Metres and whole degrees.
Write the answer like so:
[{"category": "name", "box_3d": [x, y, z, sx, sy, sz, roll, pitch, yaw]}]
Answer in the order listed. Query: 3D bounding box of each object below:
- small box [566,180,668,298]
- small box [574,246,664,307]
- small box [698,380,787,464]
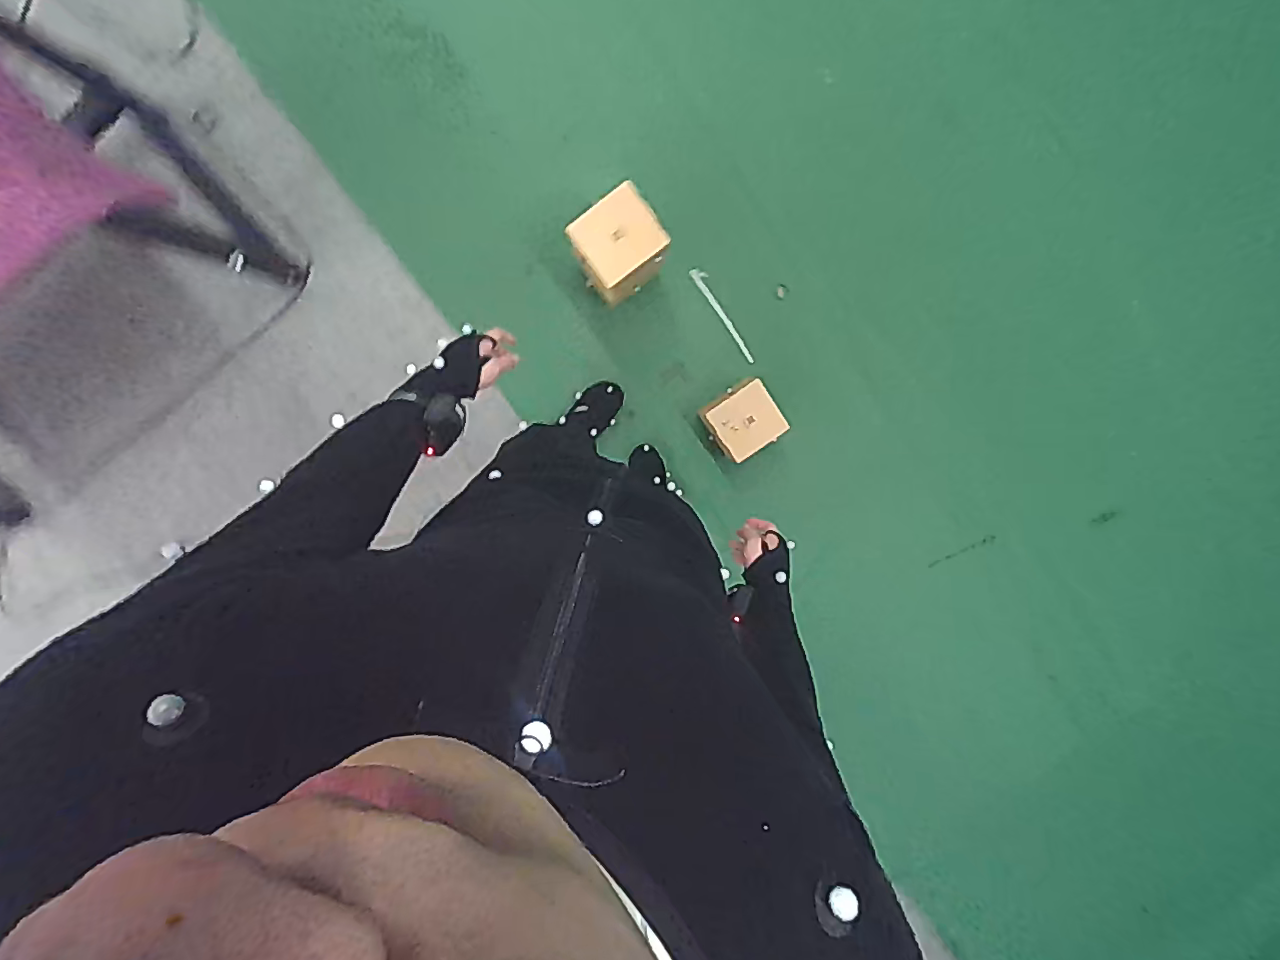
[{"category": "small box", "box_3d": [-0.051, -0.563, 1.293, 0.179, 0.176, 0.168, -36, 98, 3]}, {"category": "small box", "box_3d": [-0.058, -0.592, 1.452, 0.179, 0.176, 0.168, -36, 98, 4]}, {"category": "small box", "box_3d": [0.283, -0.169, 1.534, 0.179, 0.176, 0.168, -34, 99, 4]}]
